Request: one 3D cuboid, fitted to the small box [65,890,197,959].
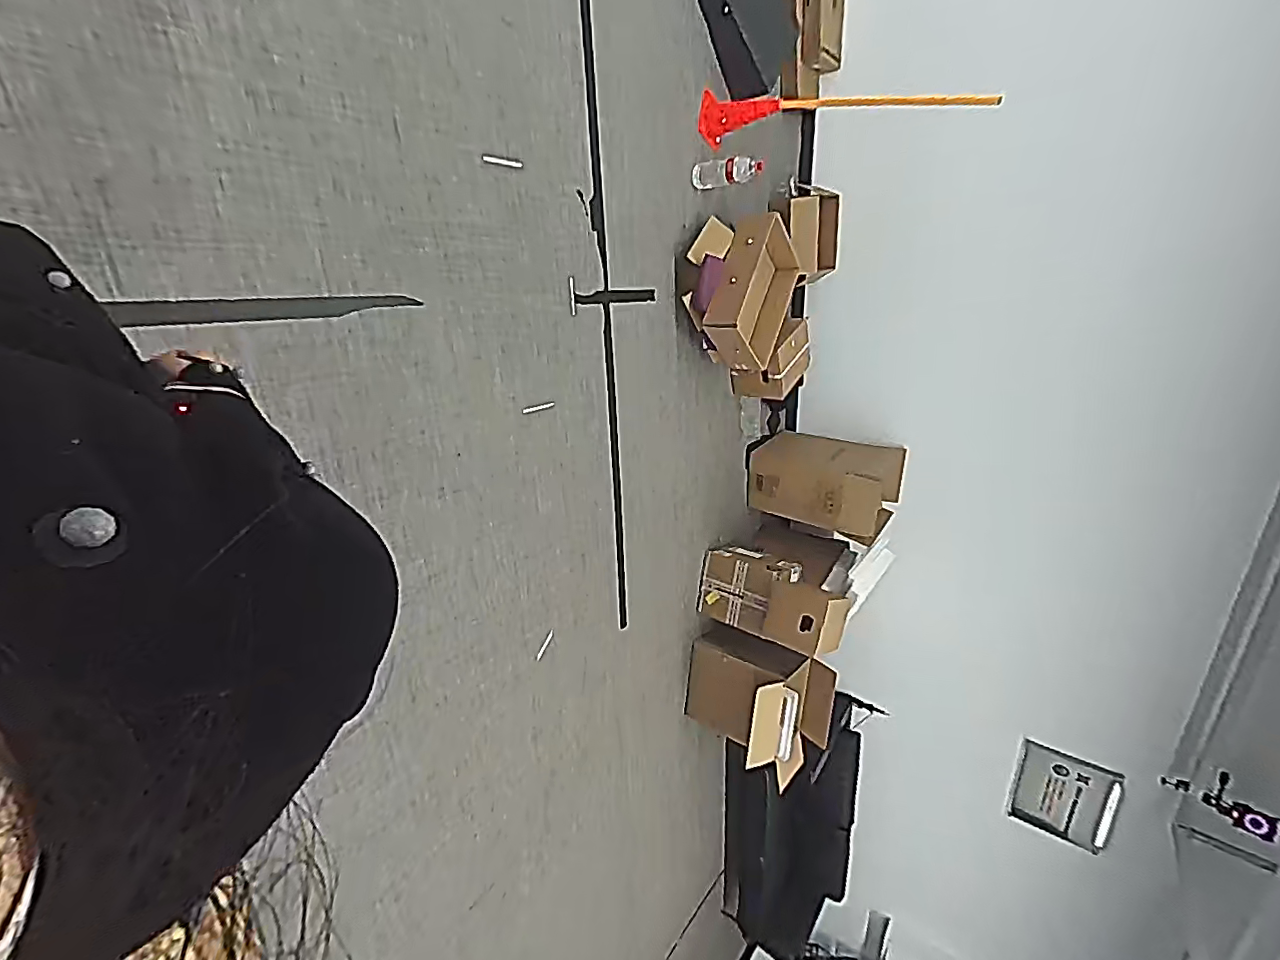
[{"bbox_3d":[-1.148,1.085,1.224,0.168,0.176,0.179,-29,123,-46],"label":"small box"}]
